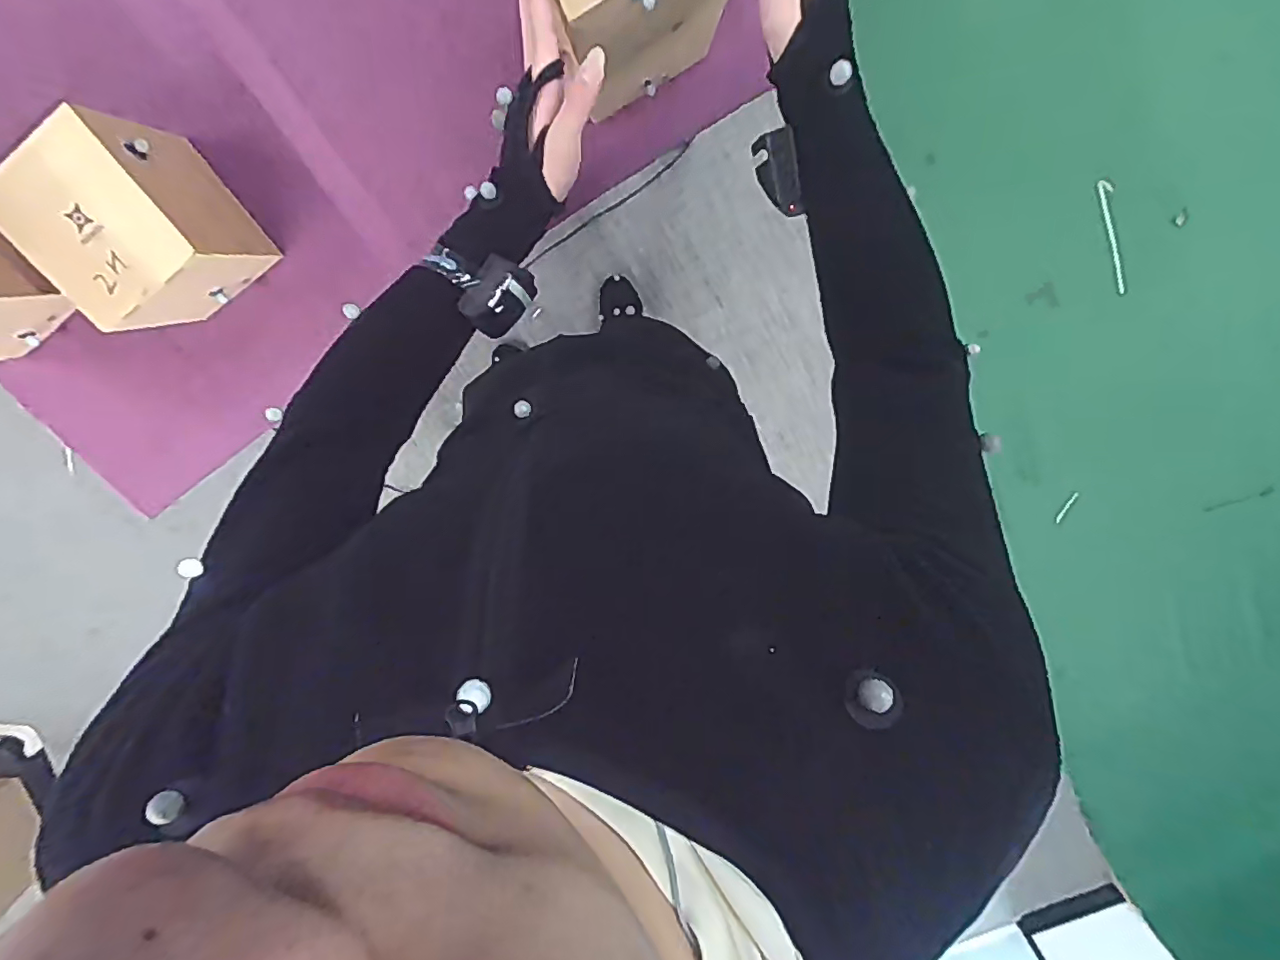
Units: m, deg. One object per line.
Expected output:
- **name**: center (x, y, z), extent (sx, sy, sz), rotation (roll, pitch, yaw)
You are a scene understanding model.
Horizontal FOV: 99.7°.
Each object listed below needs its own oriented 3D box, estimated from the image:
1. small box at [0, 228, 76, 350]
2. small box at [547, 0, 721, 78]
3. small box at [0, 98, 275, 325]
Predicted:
- **small box**: center (-0.892, -0.266, 0.682), extent (0.168, 0.176, 0.179), rotation (-32, 111, 11)
- **small box**: center (-0.022, -0.484, 0.443), extent (0.168, 0.176, 0.179), rotation (-25, 110, 10)
- **small box**: center (-0.616, -0.317, 0.670), extent (0.168, 0.176, 0.179), rotation (-31, 110, 10)
